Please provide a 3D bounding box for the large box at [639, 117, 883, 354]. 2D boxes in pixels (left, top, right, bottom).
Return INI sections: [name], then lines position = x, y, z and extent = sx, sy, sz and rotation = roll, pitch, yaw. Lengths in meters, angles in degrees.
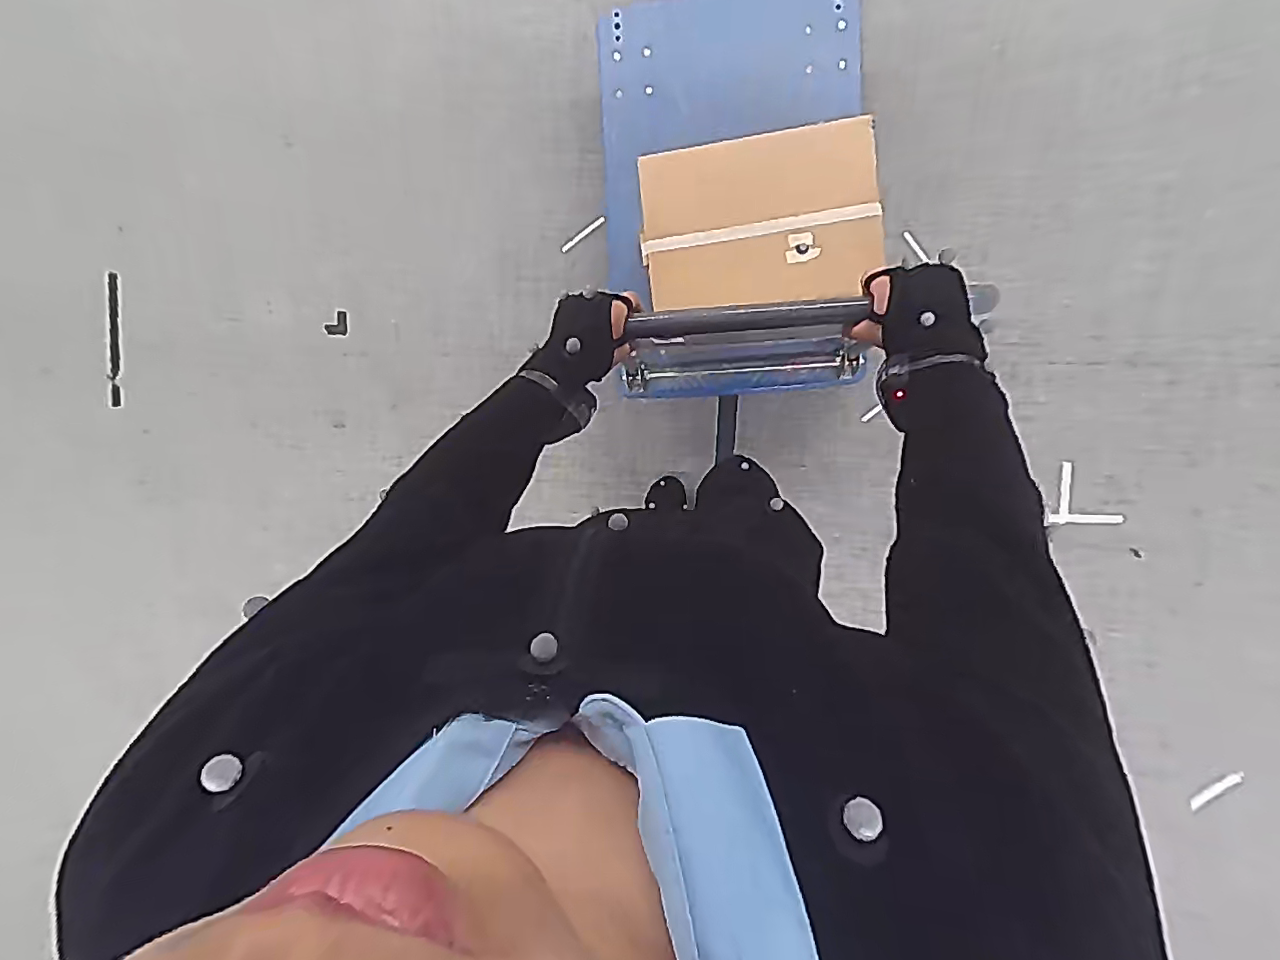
[large box]
position = 0.226, -0.460, 1.107
extent = 0.408, 0.320, 0.320
rotation = -7, 96, 6
